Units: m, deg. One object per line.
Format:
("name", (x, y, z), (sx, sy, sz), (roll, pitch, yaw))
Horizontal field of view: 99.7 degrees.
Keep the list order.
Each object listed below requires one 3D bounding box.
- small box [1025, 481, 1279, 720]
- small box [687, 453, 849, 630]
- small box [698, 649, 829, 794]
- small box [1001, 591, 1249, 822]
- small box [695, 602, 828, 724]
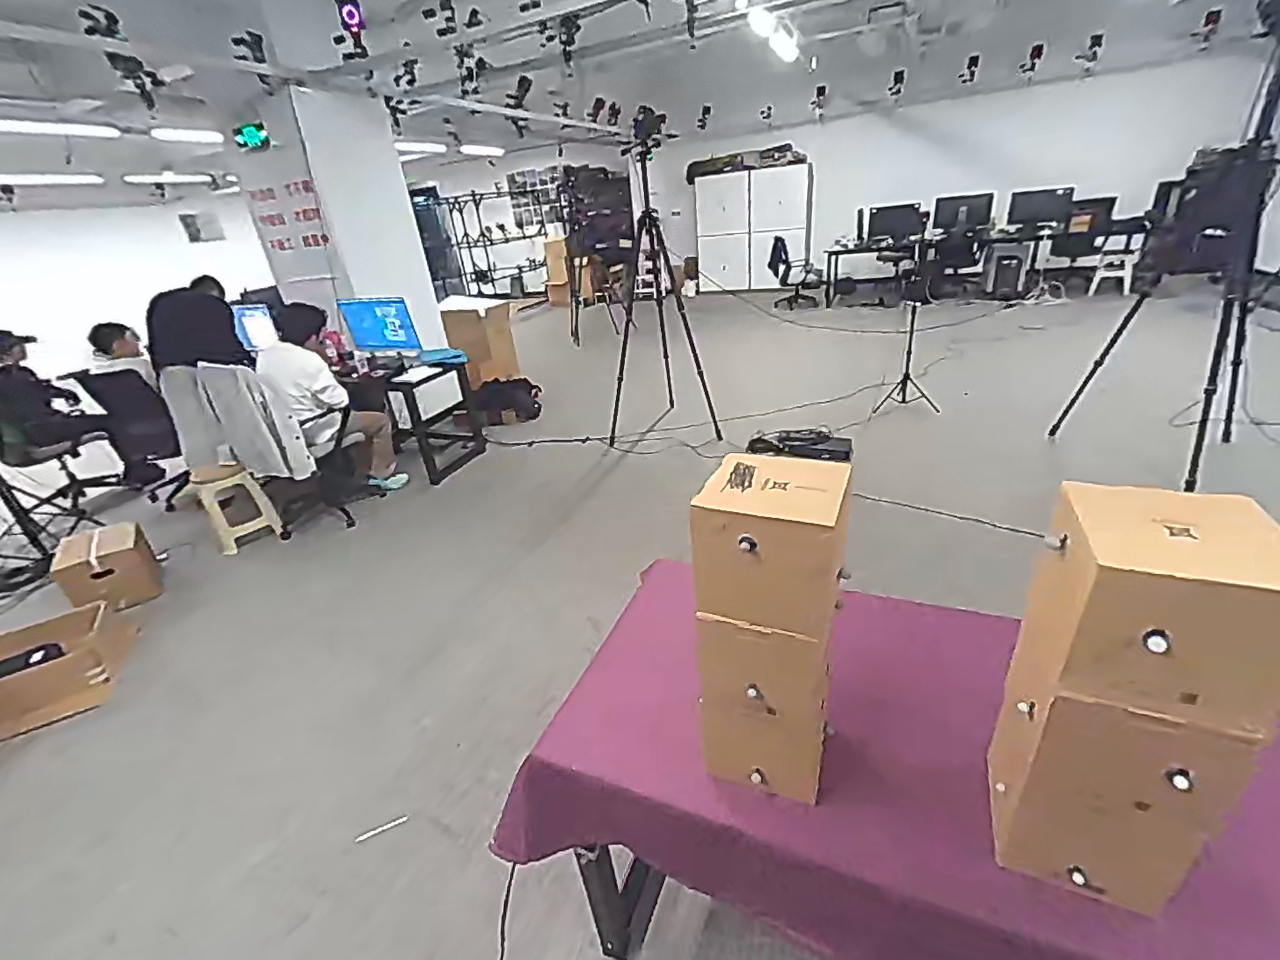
("small box", (0.536, 0.120, 0.578), (0.168, 0.176, 0.179), (6, 29, 24))
("small box", (0.177, 0.078, 0.735), (0.179, 0.176, 0.168), (8, 30, 24))
("small box", (0.204, 0.372, 0.882), (0.179, 0.176, 0.168), (6, 29, 22))
("small box", (0.554, 0.264, 0.651), (0.168, 0.176, 0.179), (6, 30, 24))
("small box", (0.189, 0.224, 0.811), (0.168, 0.176, 0.179), (5, 30, 24))
